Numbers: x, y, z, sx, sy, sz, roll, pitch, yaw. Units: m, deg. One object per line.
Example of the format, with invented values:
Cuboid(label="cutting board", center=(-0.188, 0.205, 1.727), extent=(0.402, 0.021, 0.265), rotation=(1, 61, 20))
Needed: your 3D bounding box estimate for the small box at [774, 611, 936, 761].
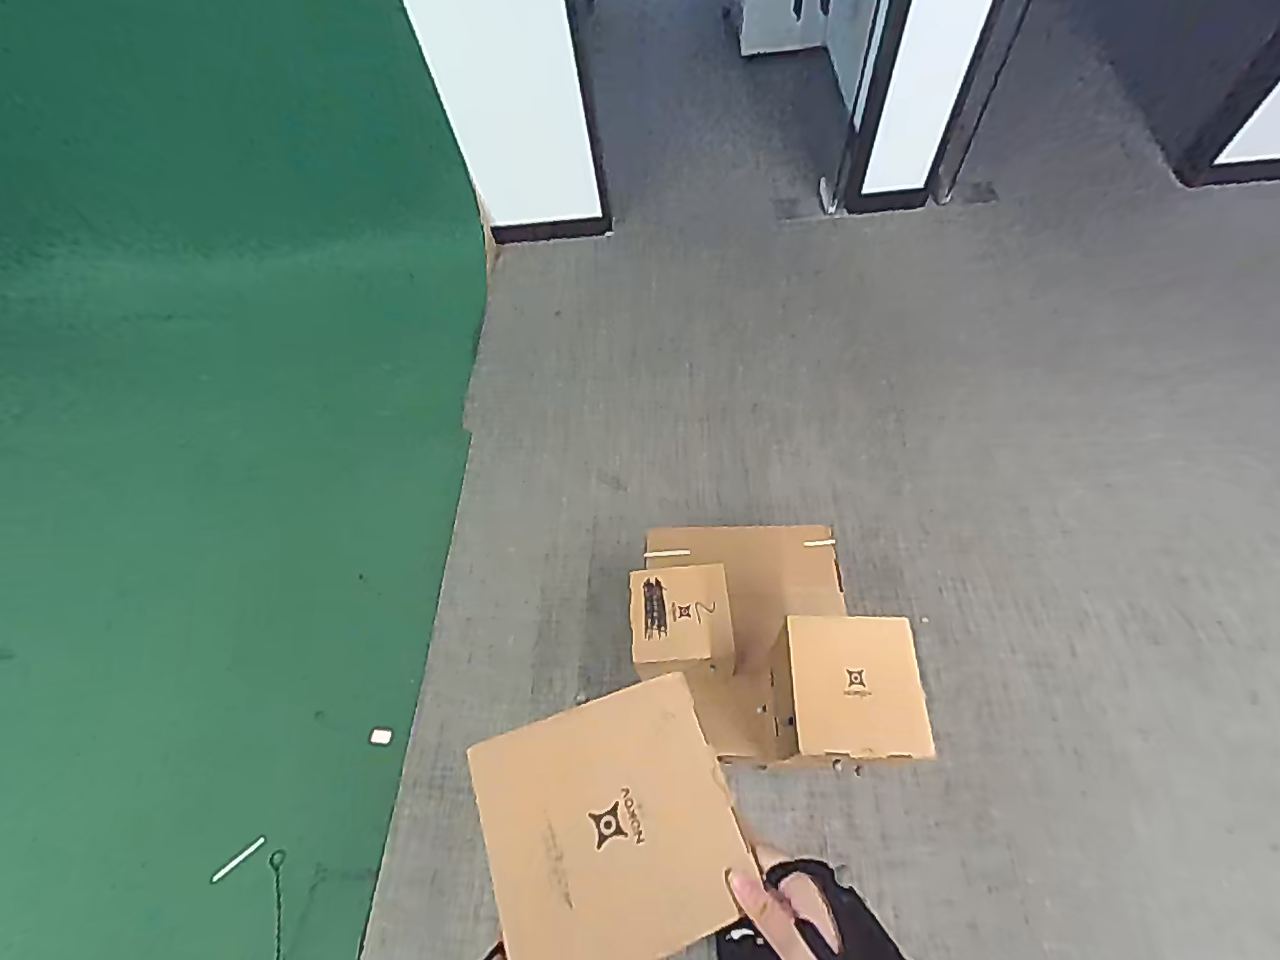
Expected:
Cuboid(label="small box", center=(0.289, 0.297, 0.773), extent=(0.168, 0.176, 0.179), rotation=(0, 62, 5))

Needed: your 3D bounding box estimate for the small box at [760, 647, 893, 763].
Cuboid(label="small box", center=(0.305, 0.381, 0.912), extent=(0.179, 0.176, 0.168), rotation=(-1, 60, 6))

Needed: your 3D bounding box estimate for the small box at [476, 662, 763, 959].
Cuboid(label="small box", center=(-0.026, 0.274, 0.463), extent=(0.179, 0.176, 0.168), rotation=(-15, 64, -13))
